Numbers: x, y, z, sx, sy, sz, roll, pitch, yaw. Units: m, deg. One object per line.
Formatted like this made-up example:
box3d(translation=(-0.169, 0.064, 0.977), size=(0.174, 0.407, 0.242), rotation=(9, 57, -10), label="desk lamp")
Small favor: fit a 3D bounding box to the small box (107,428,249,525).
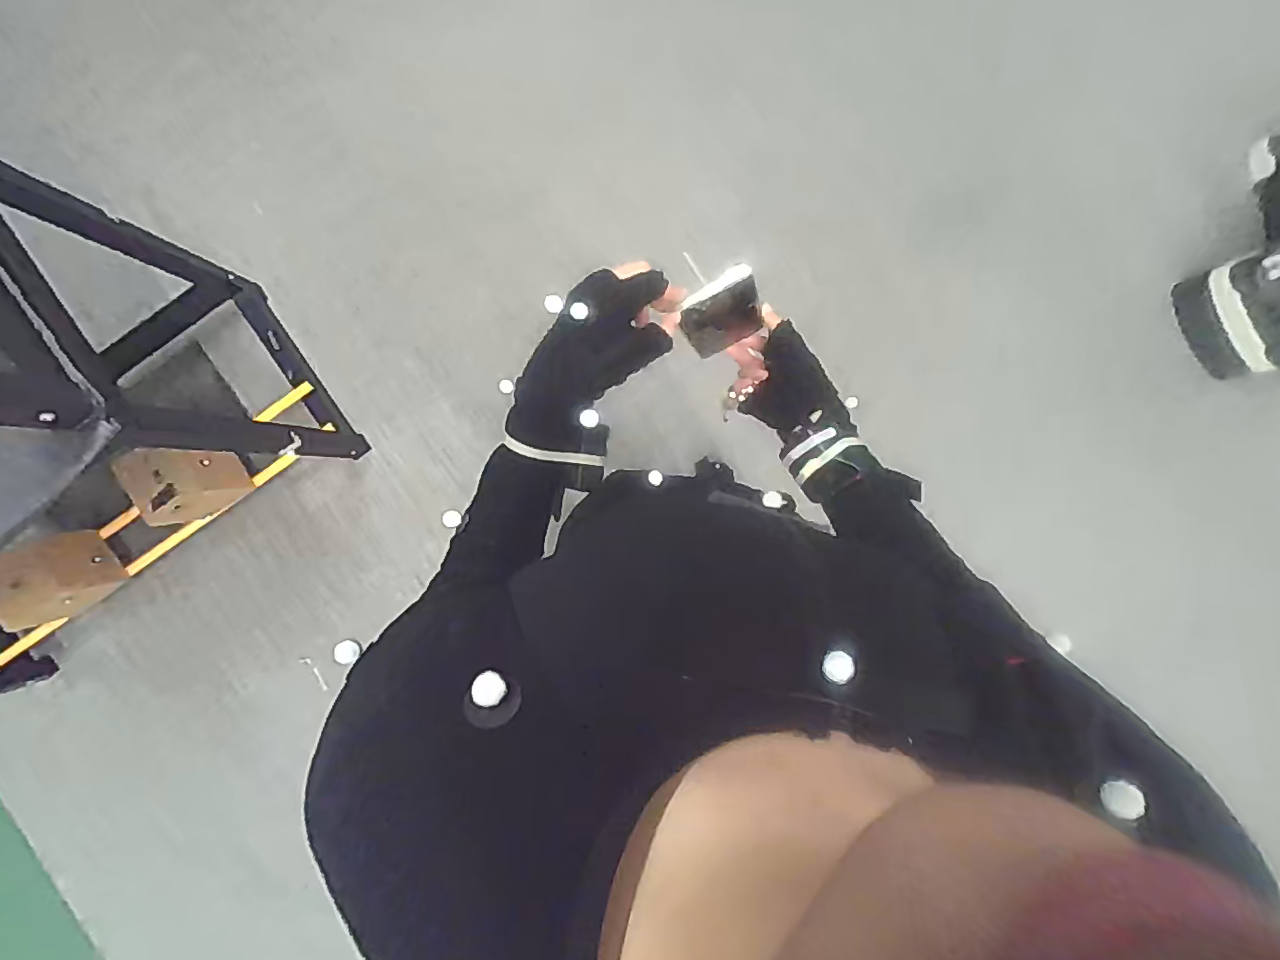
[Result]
box3d(translation=(-1.123, -0.011, 1.332), size=(0.168, 0.176, 0.179), rotation=(-31, 90, 2), label="small box")
